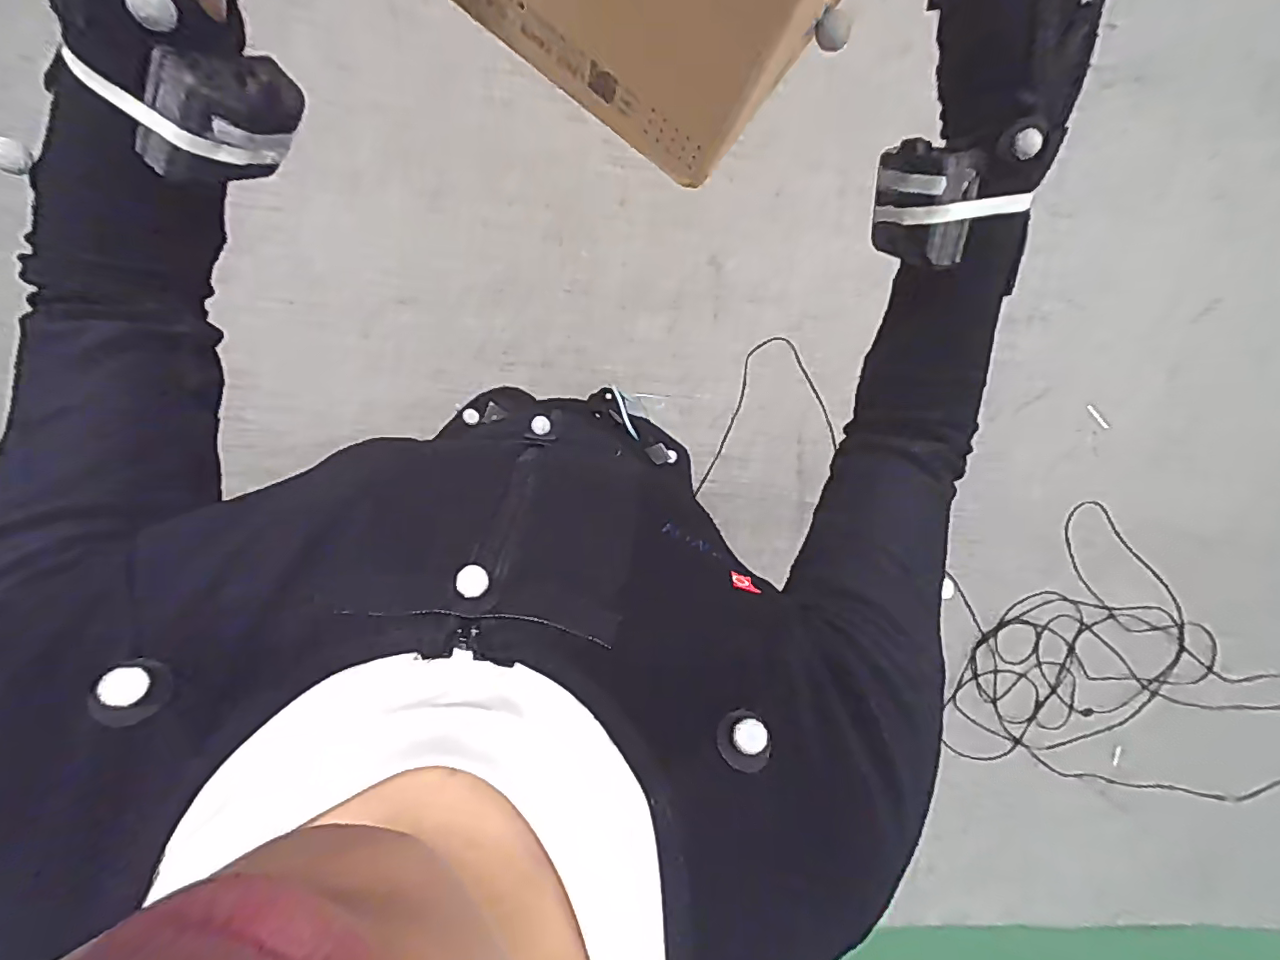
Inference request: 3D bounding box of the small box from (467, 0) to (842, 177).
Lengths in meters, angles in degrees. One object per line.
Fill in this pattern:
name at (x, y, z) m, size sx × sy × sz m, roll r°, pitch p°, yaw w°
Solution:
small box at (0.031, -0.275, 0.213) m, size 0.168 × 0.176 × 0.179 m, roll 35°, pitch 76°, yaw -7°
